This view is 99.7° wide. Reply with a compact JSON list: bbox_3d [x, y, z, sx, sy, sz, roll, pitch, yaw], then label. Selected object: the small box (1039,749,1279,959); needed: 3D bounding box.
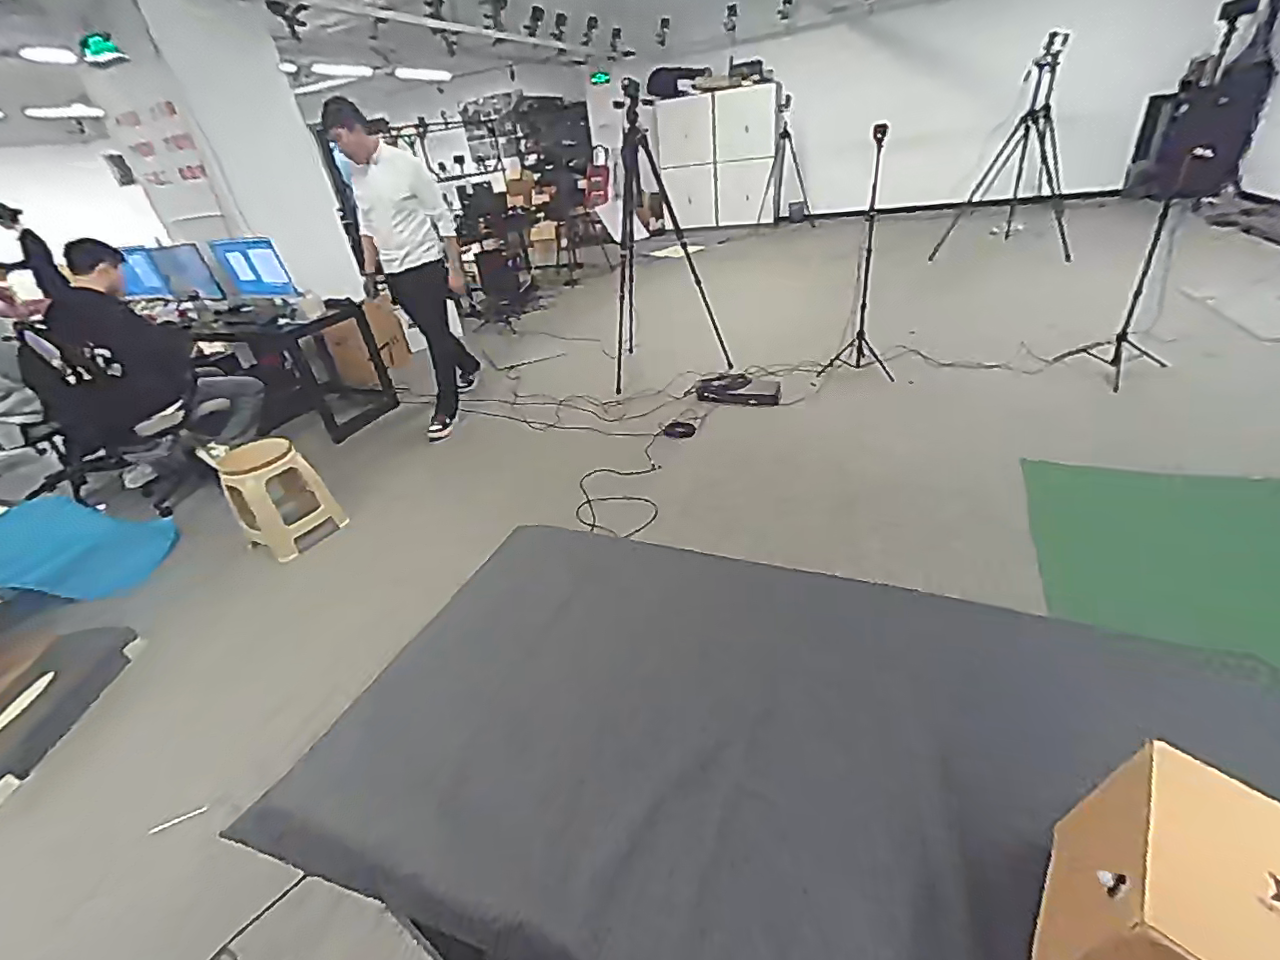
[{"bbox_3d":[0.446,0.362,0.416,0.168,0.176,0.179,29,43,29],"label":"small box"}]
